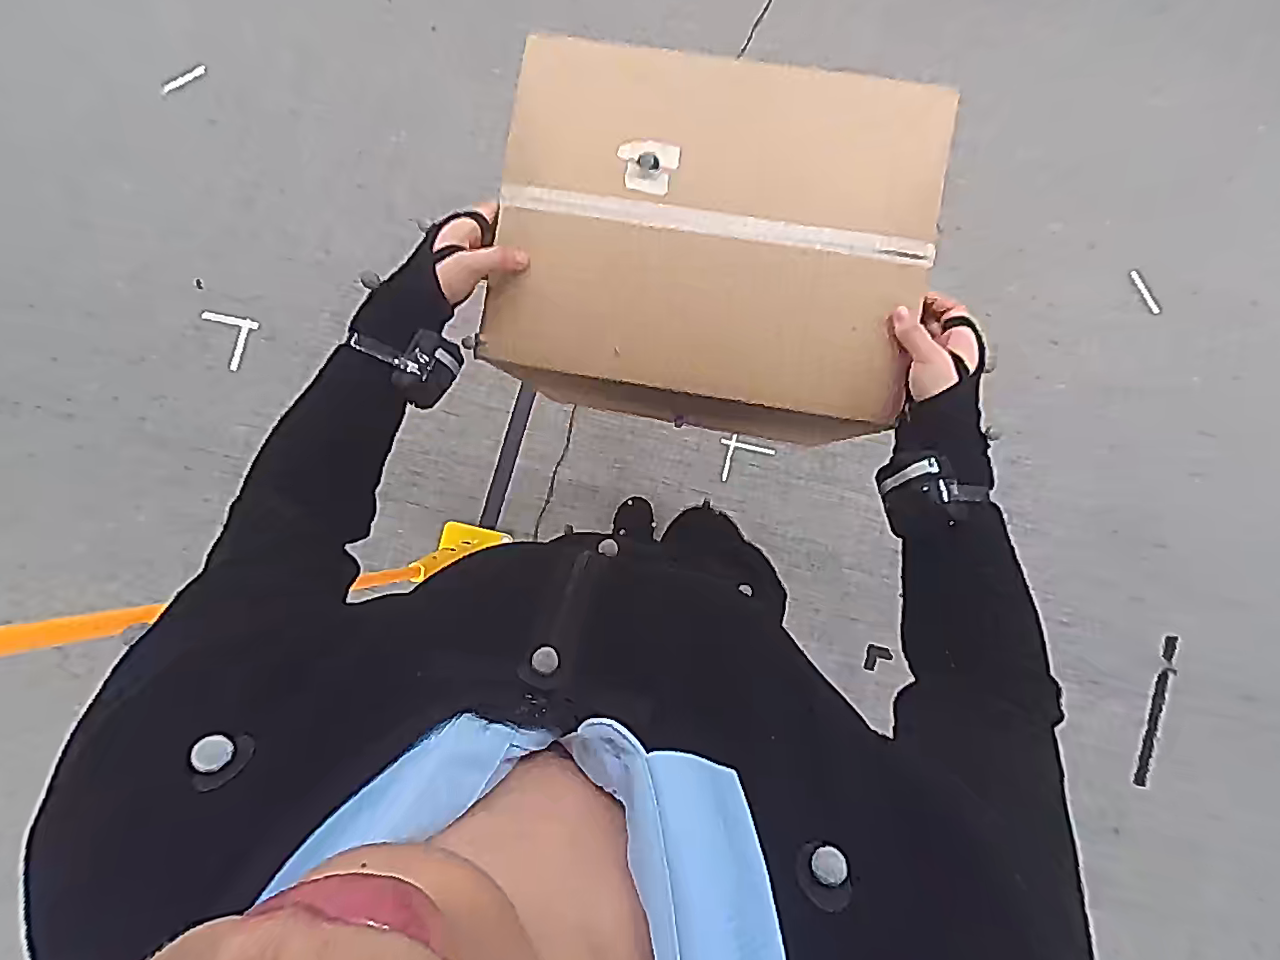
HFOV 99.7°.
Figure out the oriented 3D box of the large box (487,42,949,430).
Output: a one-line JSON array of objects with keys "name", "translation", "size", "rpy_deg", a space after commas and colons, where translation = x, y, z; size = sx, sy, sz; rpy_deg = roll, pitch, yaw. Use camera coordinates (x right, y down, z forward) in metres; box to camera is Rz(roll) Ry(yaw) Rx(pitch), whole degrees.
[{"name": "large box", "translation": [0.080, -0.248, 0.661], "size": [0.408, 0.320, 0.320], "rpy_deg": [10, 91, 5]}]
